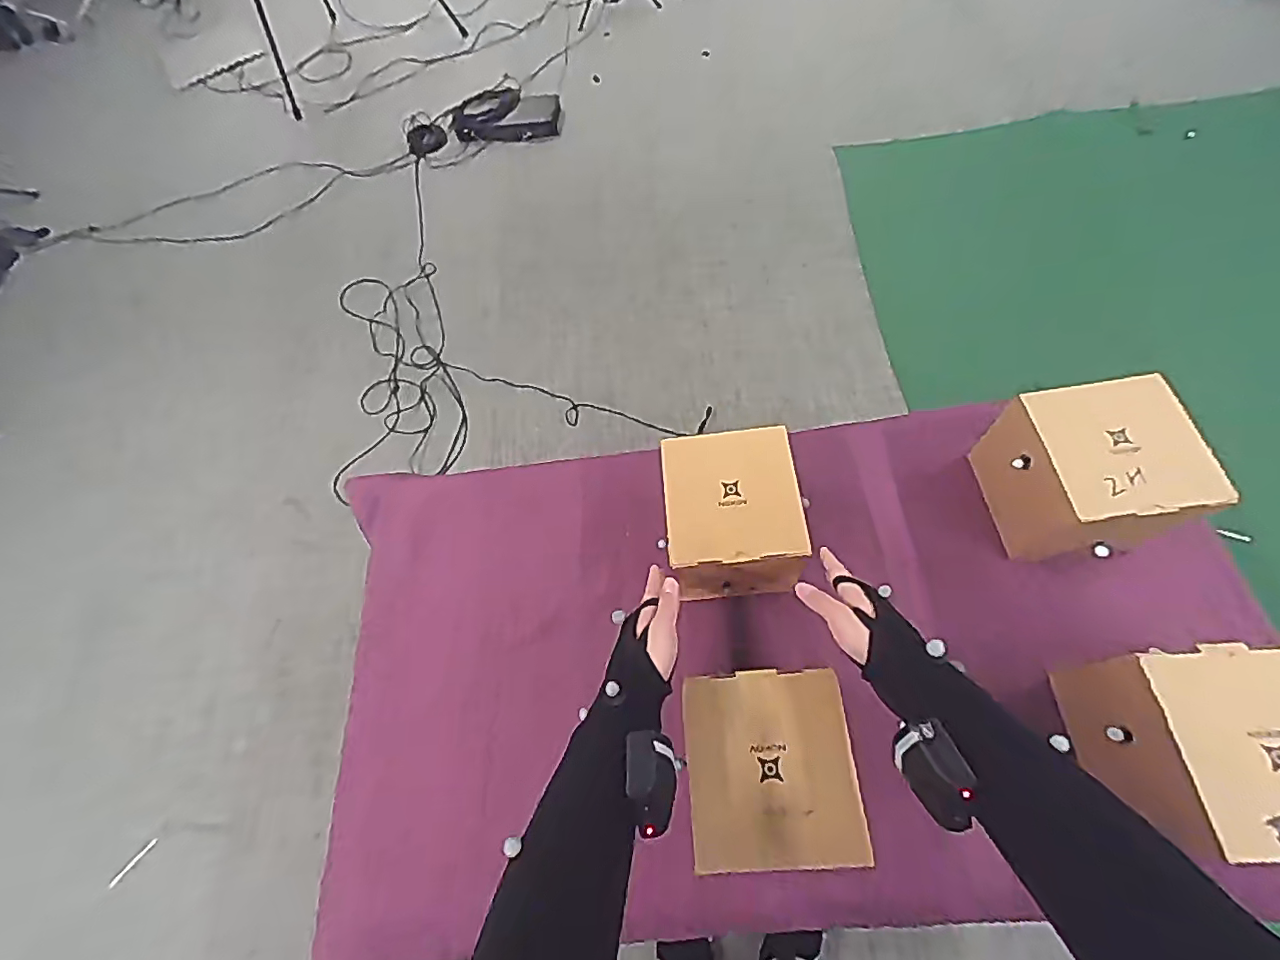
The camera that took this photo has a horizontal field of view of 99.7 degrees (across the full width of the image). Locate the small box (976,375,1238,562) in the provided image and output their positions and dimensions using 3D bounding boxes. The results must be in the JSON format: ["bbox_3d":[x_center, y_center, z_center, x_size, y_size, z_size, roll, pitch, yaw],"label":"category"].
[{"bbox_3d":[0.575,-0.008,0.703,0.168,0.176,0.179,-8,64,6],"label":"small box"}]

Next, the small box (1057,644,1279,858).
[{"bbox_3d":[0.589,0.279,0.563,0.168,0.176,0.179,-5,61,6],"label":"small box"}]

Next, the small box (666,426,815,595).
[{"bbox_3d":[0.125,0.048,0.738,0.168,0.176,0.179,-6,65,4],"label":"small box"}]
